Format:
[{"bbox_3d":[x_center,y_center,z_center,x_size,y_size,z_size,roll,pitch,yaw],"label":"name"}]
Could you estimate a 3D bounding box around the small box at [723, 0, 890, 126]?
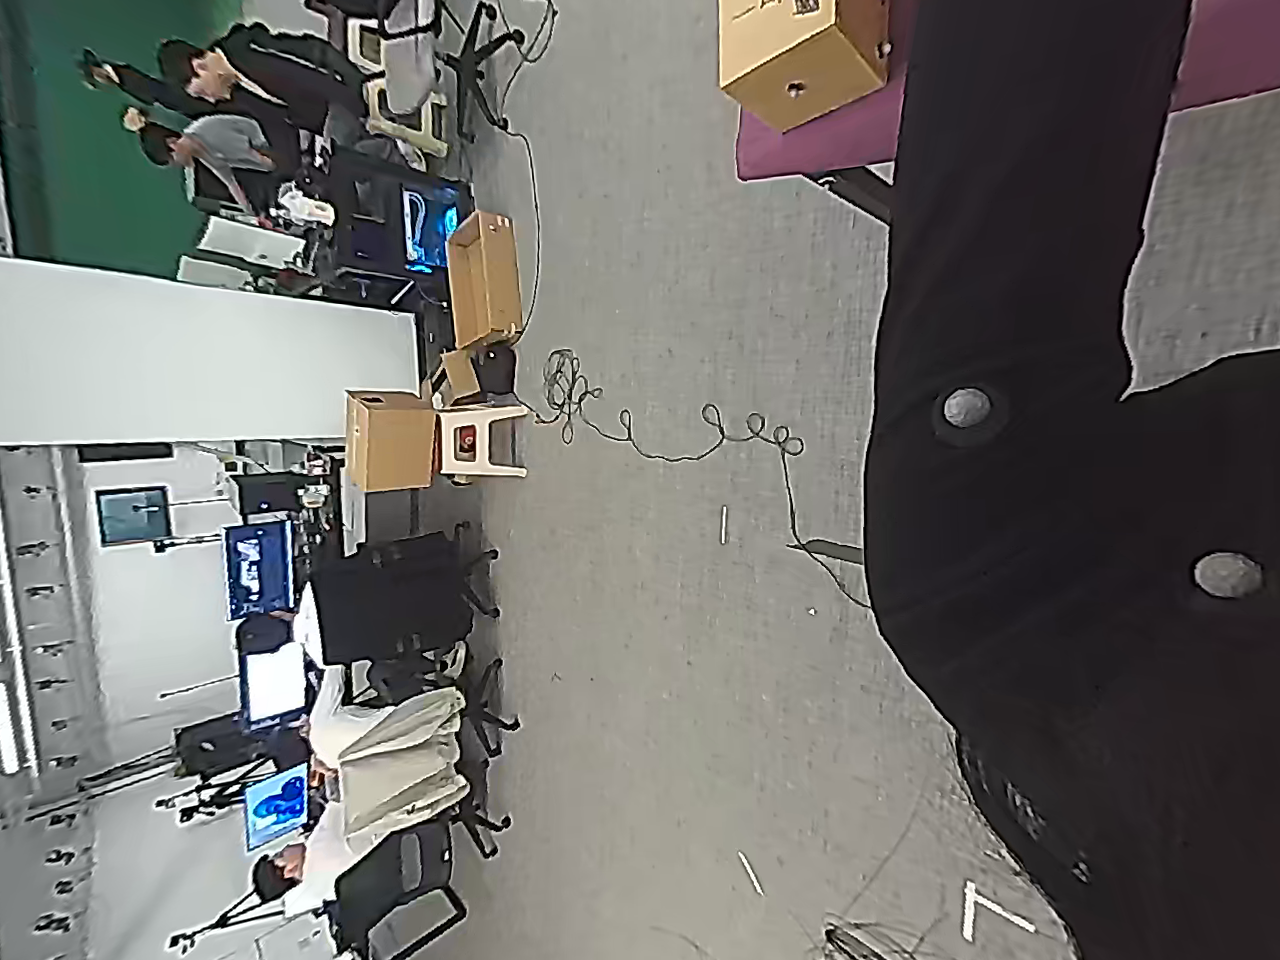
[{"bbox_3d":[0.235,-0.640,0.756,0.179,0.176,0.168,3,96,46],"label":"small box"}]
